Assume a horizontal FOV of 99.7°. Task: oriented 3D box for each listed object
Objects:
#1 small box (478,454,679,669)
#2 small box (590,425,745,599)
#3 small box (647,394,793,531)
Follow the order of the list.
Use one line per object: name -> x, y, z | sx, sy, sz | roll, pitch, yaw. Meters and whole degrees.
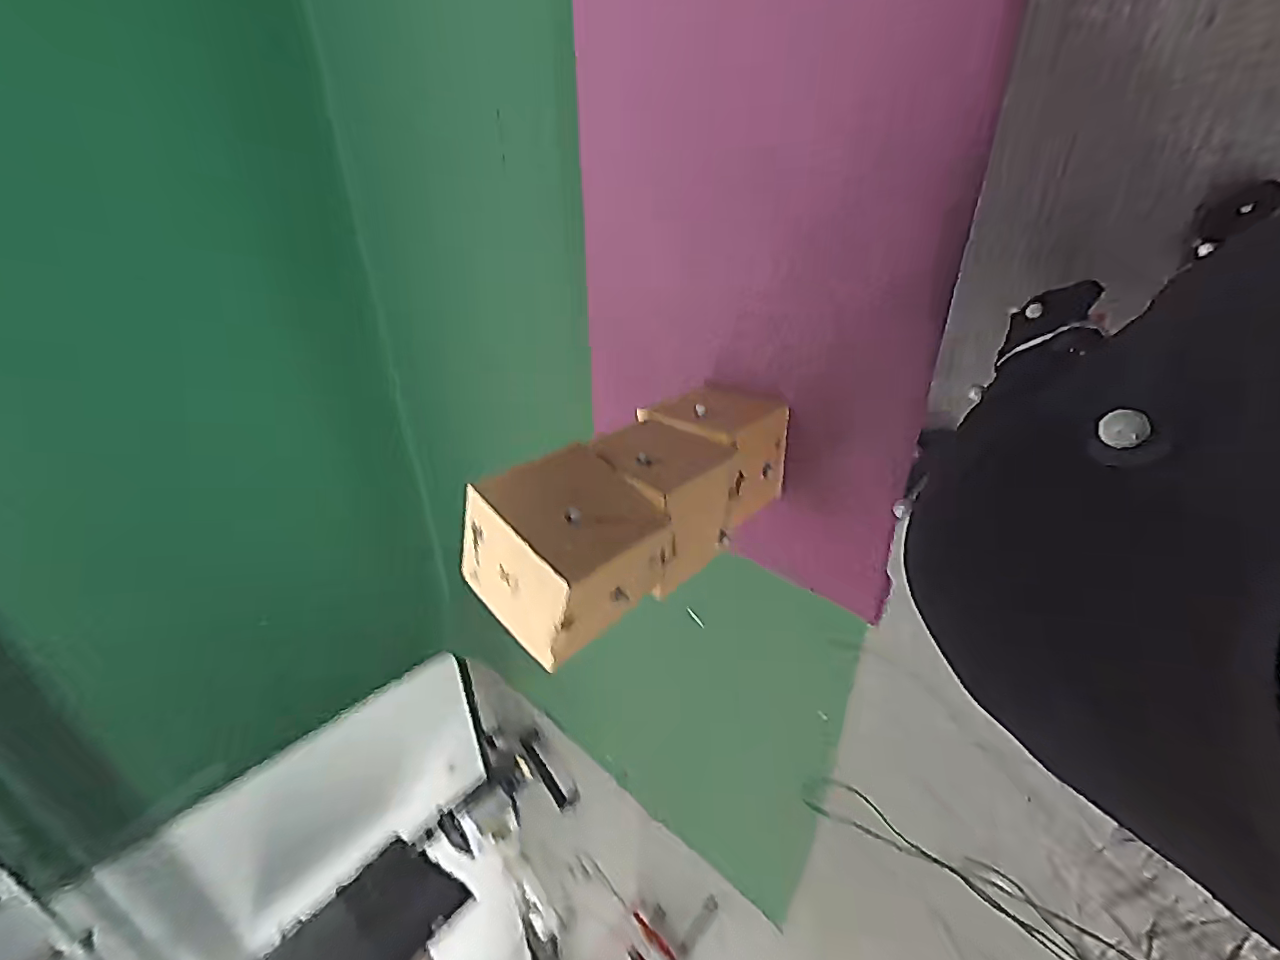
small box -> -0.078, 0.091, 0.681 | 0.179, 0.176, 0.168 | 38, 133, 22
small box -> 0.033, 0.034, 0.788 | 0.179, 0.176, 0.168 | 25, 127, 35
small box -> 0.130, -0.038, 0.900 | 0.179, 0.176, 0.168 | 19, 124, 37
